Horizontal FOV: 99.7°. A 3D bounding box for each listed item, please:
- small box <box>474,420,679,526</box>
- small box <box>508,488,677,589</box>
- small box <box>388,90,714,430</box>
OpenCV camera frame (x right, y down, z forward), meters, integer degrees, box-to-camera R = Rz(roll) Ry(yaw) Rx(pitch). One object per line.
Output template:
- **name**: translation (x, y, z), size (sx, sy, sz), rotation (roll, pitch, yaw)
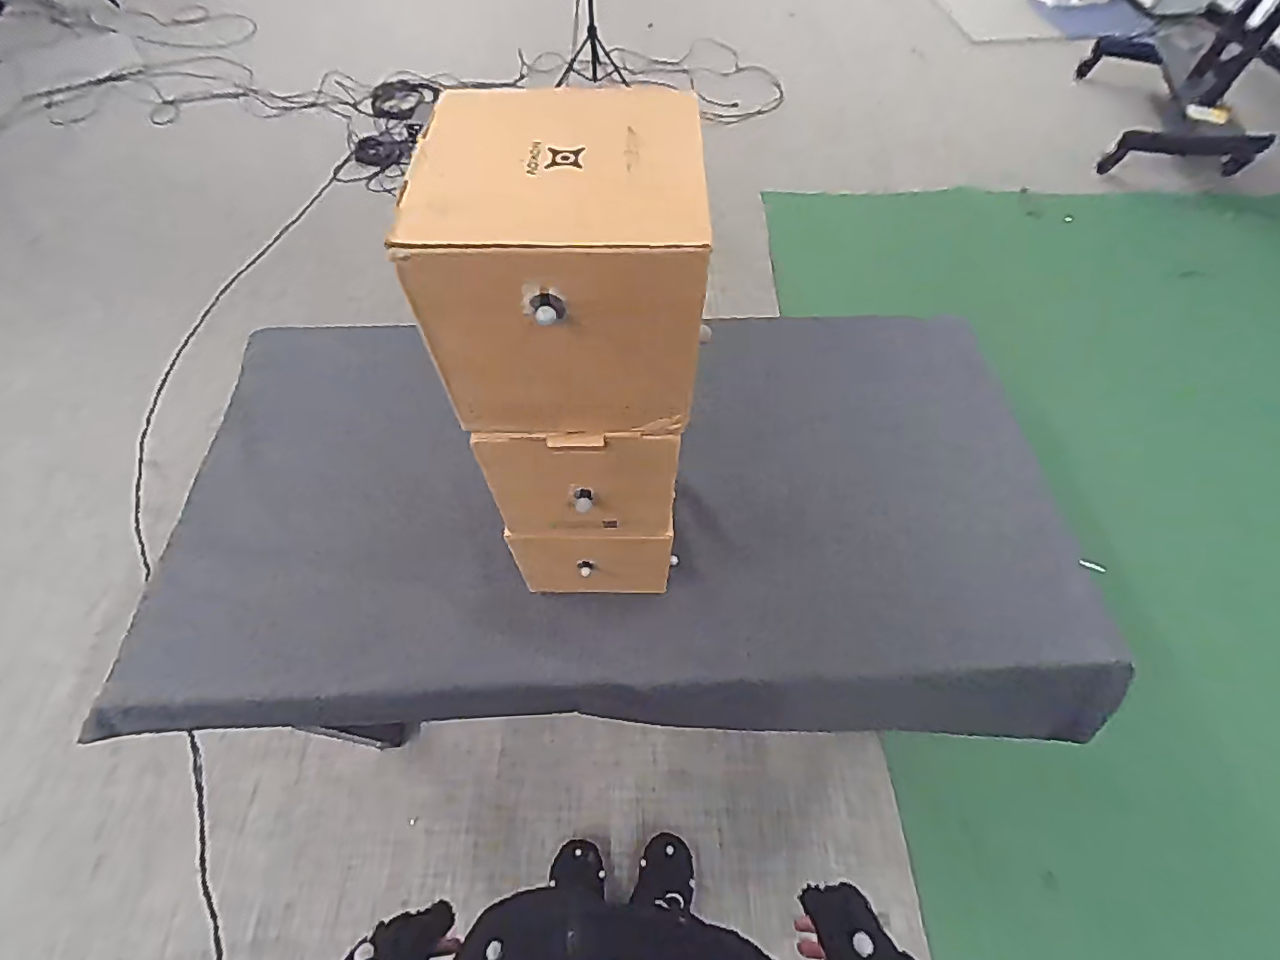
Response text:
- **small box**: translation (-0.050, -0.063, 0.530), size (0.168, 0.176, 0.179), rotation (-1, 59, -1)
- **small box**: translation (-0.050, 0.029, 0.666), size (0.179, 0.176, 0.168), rotation (0, 59, 0)
- **small box**: translation (-0.047, -0.149, 0.392), size (0.179, 0.176, 0.168), rotation (0, 60, -1)
